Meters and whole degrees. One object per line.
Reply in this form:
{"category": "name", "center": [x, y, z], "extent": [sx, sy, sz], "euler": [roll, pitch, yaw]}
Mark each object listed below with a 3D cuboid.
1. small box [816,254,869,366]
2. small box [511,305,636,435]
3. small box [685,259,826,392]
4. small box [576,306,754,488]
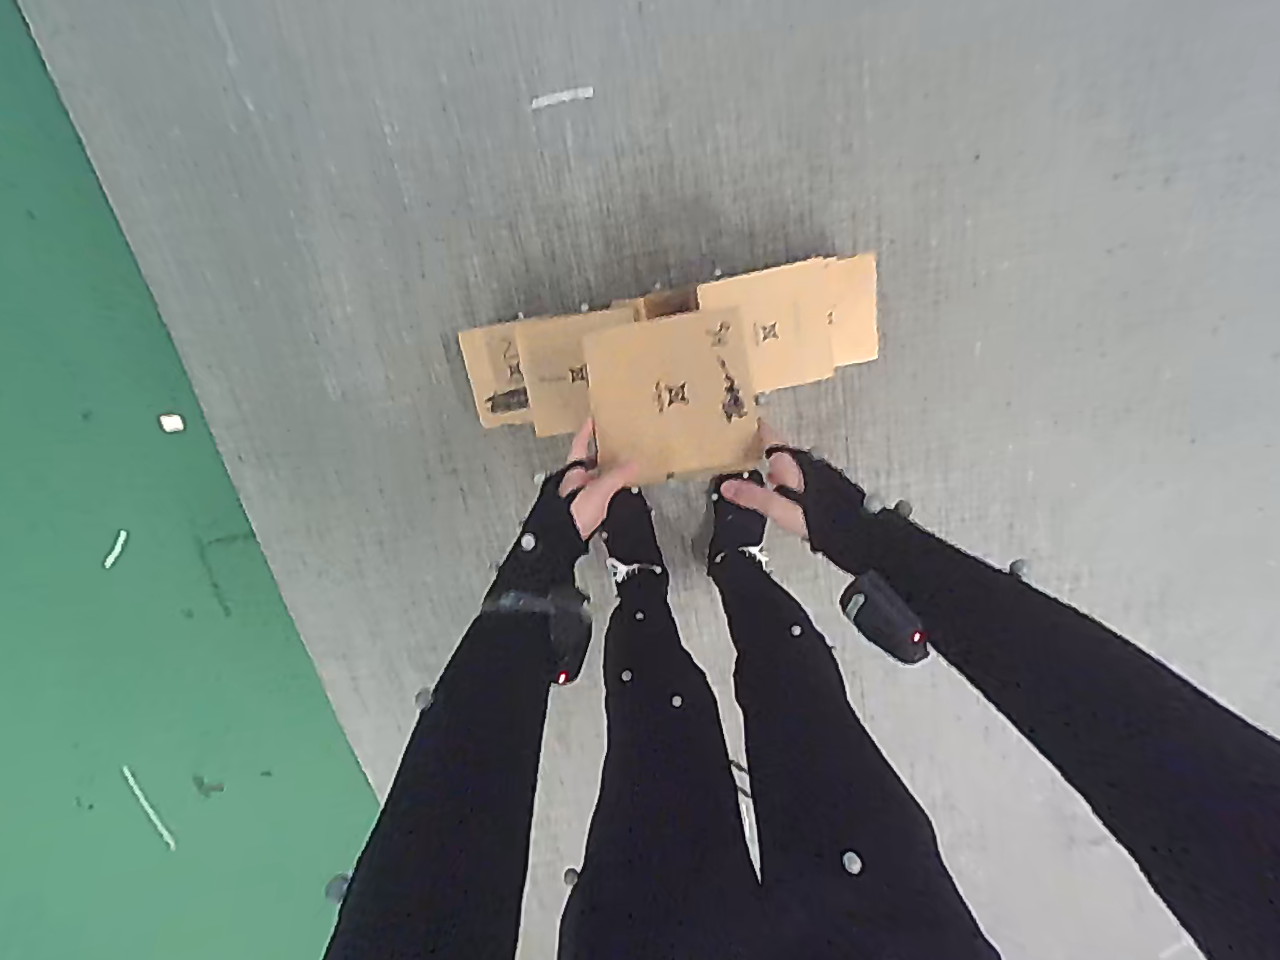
{"category": "small box", "center": [0.303, -0.302, 0.984], "extent": [0.168, 0.176, 0.179], "euler": [-9, 108, 4]}
{"category": "small box", "center": [-0.086, -0.180, 0.854], "extent": [0.179, 0.176, 0.168], "euler": [-8, 108, 4]}
{"category": "small box", "center": [0.168, -0.233, 0.835], "extent": [0.179, 0.176, 0.168], "euler": [-12, 109, 2]}
{"category": "small box", "center": [0.037, -0.084, 0.647], "extent": [0.179, 0.176, 0.168], "euler": [-8, 86, 9]}
